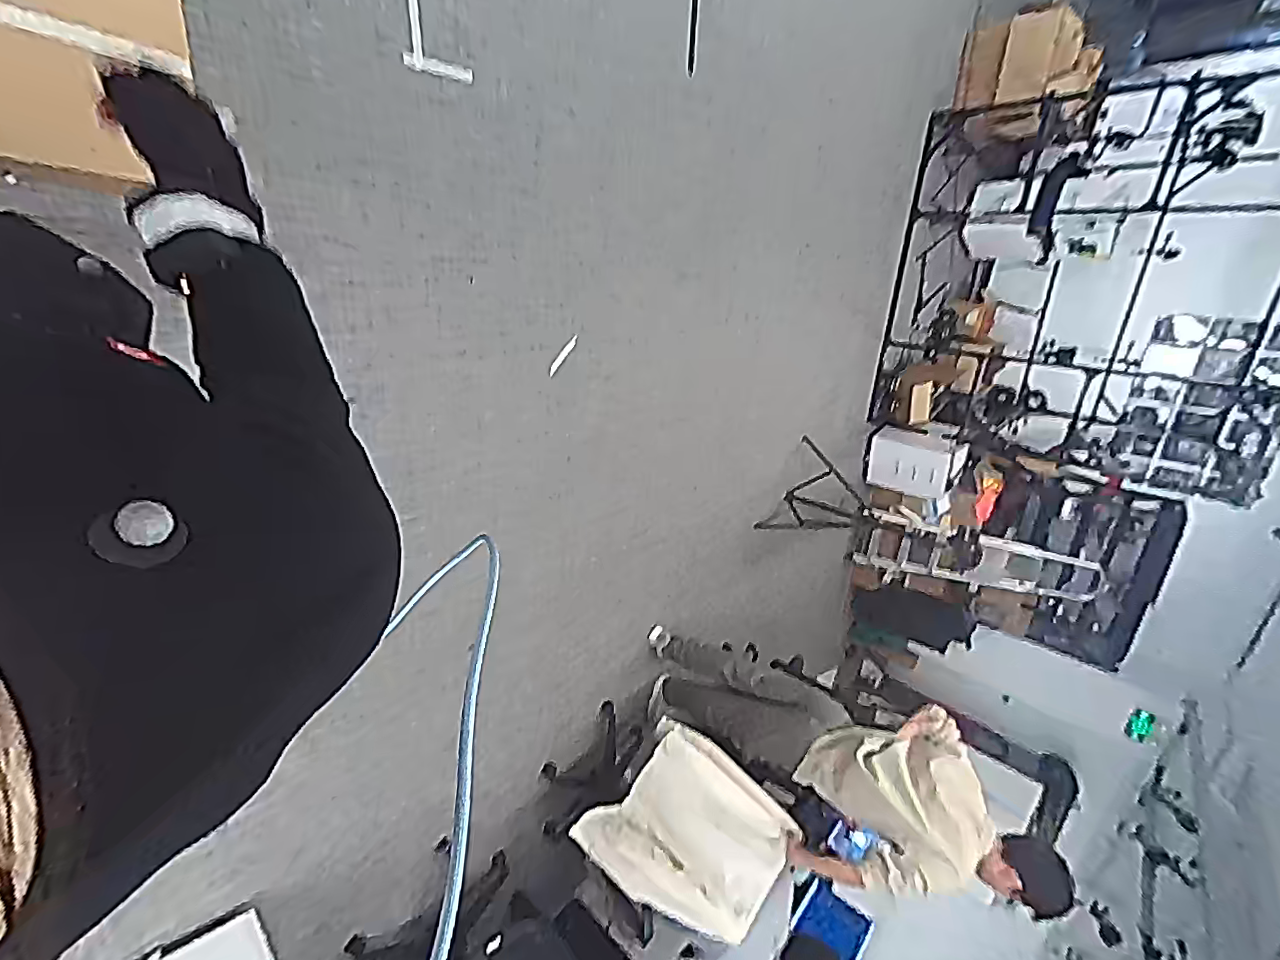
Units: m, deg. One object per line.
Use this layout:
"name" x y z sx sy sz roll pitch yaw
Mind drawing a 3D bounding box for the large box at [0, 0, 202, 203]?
"large box" -0.891 -0.578 0.716 0.408 0.320 0.320 -15 117 -47
